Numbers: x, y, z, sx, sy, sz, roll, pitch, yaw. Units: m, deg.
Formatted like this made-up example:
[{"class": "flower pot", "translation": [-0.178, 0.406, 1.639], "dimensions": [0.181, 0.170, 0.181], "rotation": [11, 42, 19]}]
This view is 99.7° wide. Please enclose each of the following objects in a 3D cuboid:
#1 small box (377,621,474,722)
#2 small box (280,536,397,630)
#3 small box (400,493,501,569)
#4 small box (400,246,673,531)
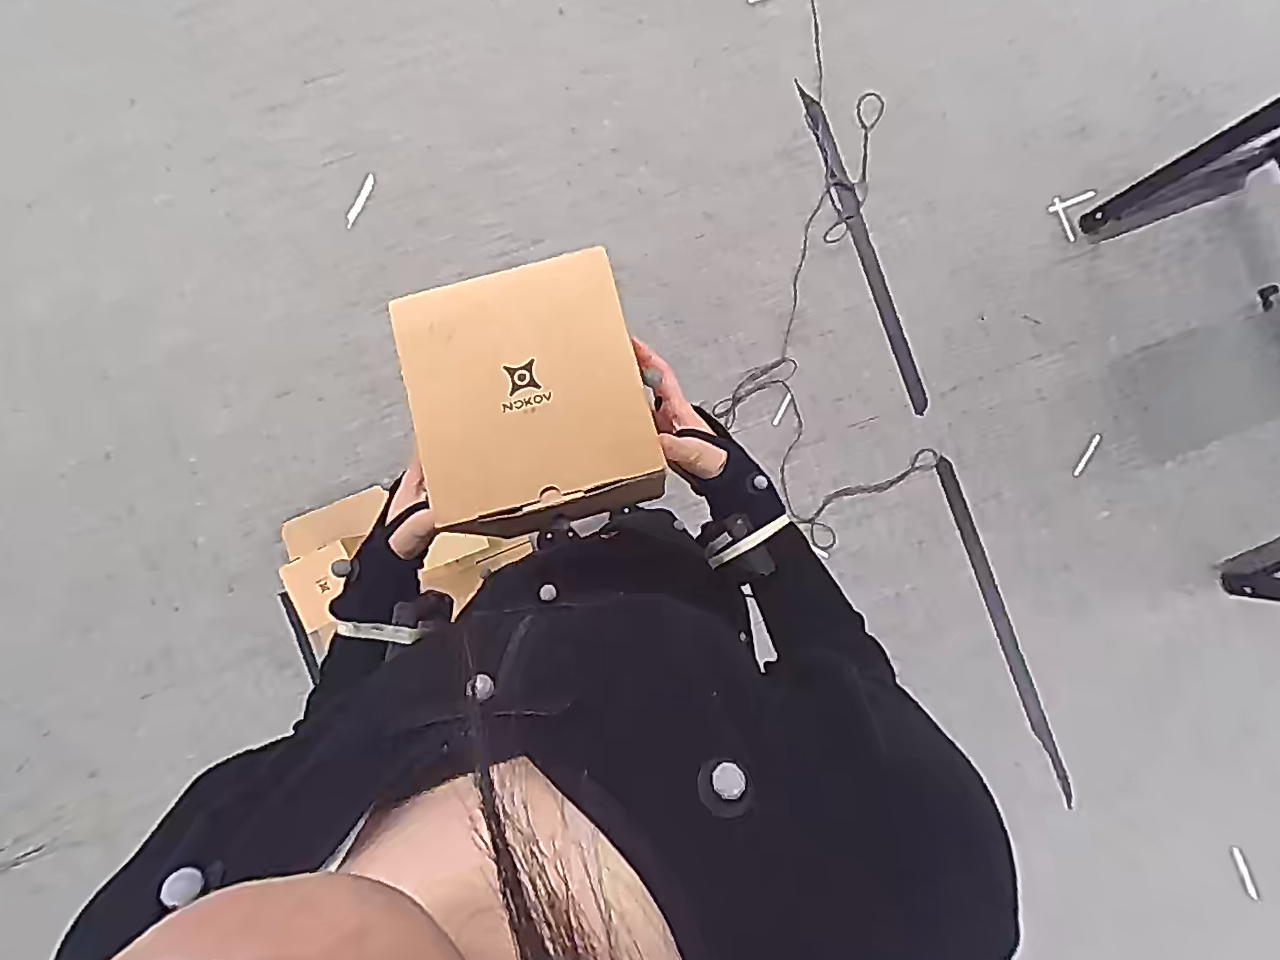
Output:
[{"class": "small box", "translation": [-0.536, 0.478, 1.374], "dimensions": [0.168, 0.176, 0.179], "rotation": [-13, 90, -4]}, {"class": "small box", "translation": [-0.756, 0.251, 1.374], "dimensions": [0.168, 0.176, 0.179], "rotation": [-26, 89, -2]}, {"class": "small box", "translation": [-0.478, 0.116, 1.391], "dimensions": [0.179, 0.176, 0.168], "rotation": [-21, 90, -4]}, {"class": "small box", "translation": [-0.075, -0.060, 0.463], "dimensions": [0.168, 0.176, 0.179], "rotation": [-15, 83, 0]}]
